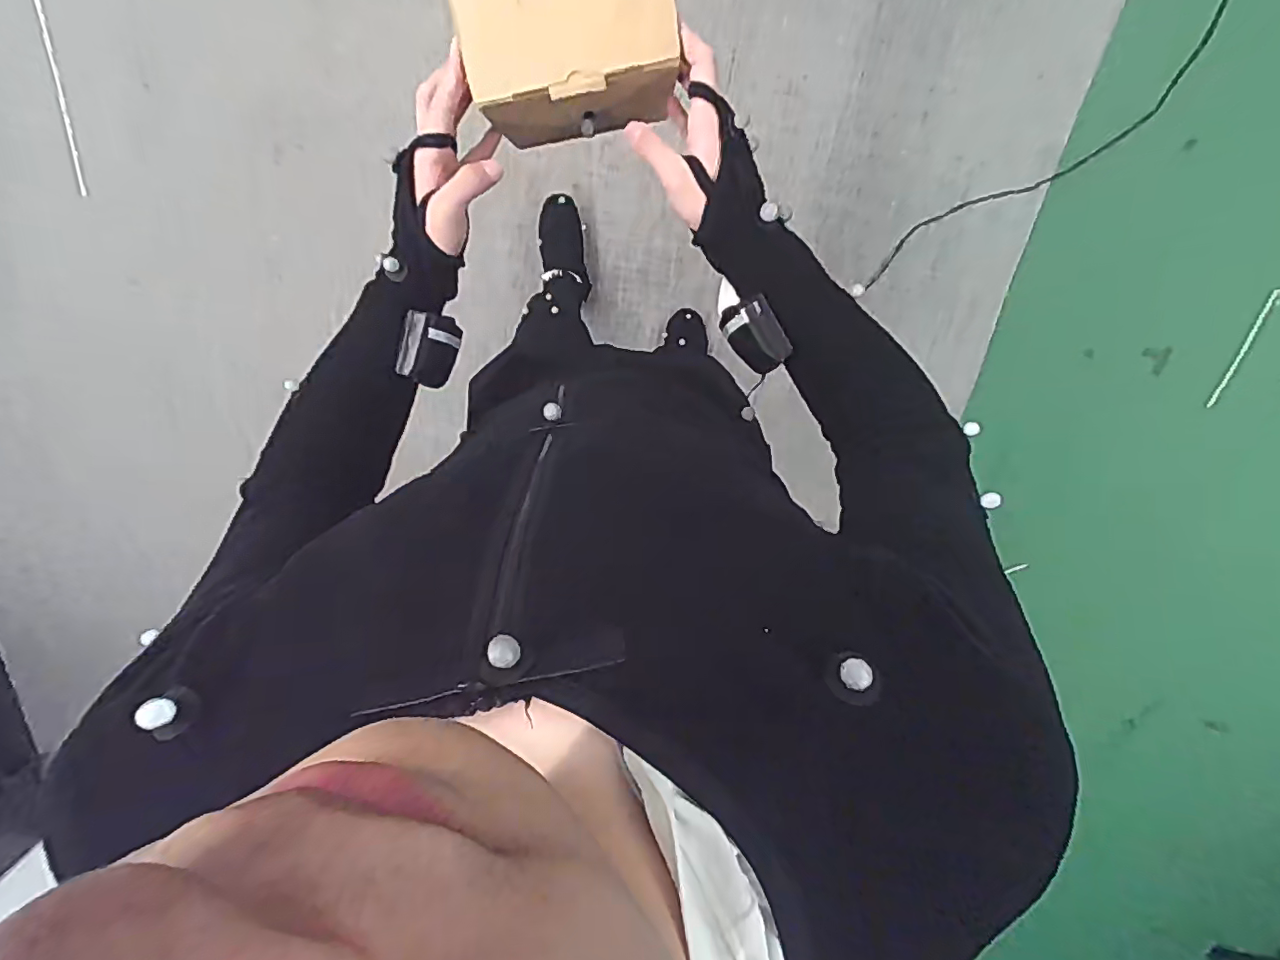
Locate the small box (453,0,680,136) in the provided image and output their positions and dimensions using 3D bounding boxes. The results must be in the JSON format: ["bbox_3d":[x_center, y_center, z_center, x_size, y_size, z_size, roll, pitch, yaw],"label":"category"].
[{"bbox_3d":[-0.061,-0.413,0.460,0.168,0.176,0.179,-10,112,3],"label":"small box"}]
